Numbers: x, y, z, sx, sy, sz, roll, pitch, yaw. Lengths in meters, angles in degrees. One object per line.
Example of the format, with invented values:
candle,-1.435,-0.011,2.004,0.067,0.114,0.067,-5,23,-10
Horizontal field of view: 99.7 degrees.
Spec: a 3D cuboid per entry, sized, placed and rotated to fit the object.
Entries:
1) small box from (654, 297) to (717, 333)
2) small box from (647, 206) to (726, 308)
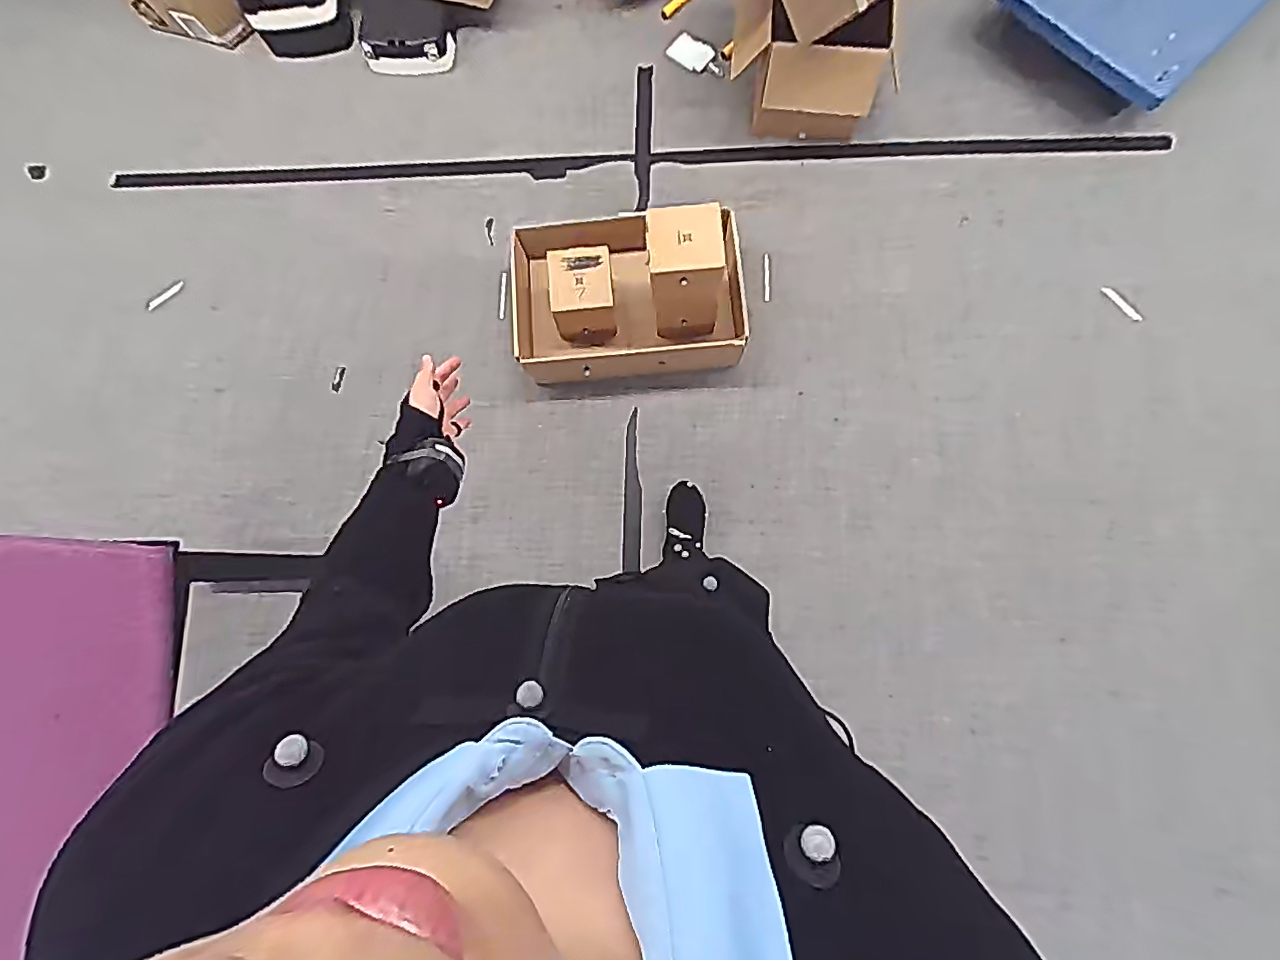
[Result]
small box,0.121,-0.515,1.487,0.168,0.176,0.179,-3,79,2
small box,0.110,-0.540,1.327,0.179,0.176,0.168,-4,80,3
